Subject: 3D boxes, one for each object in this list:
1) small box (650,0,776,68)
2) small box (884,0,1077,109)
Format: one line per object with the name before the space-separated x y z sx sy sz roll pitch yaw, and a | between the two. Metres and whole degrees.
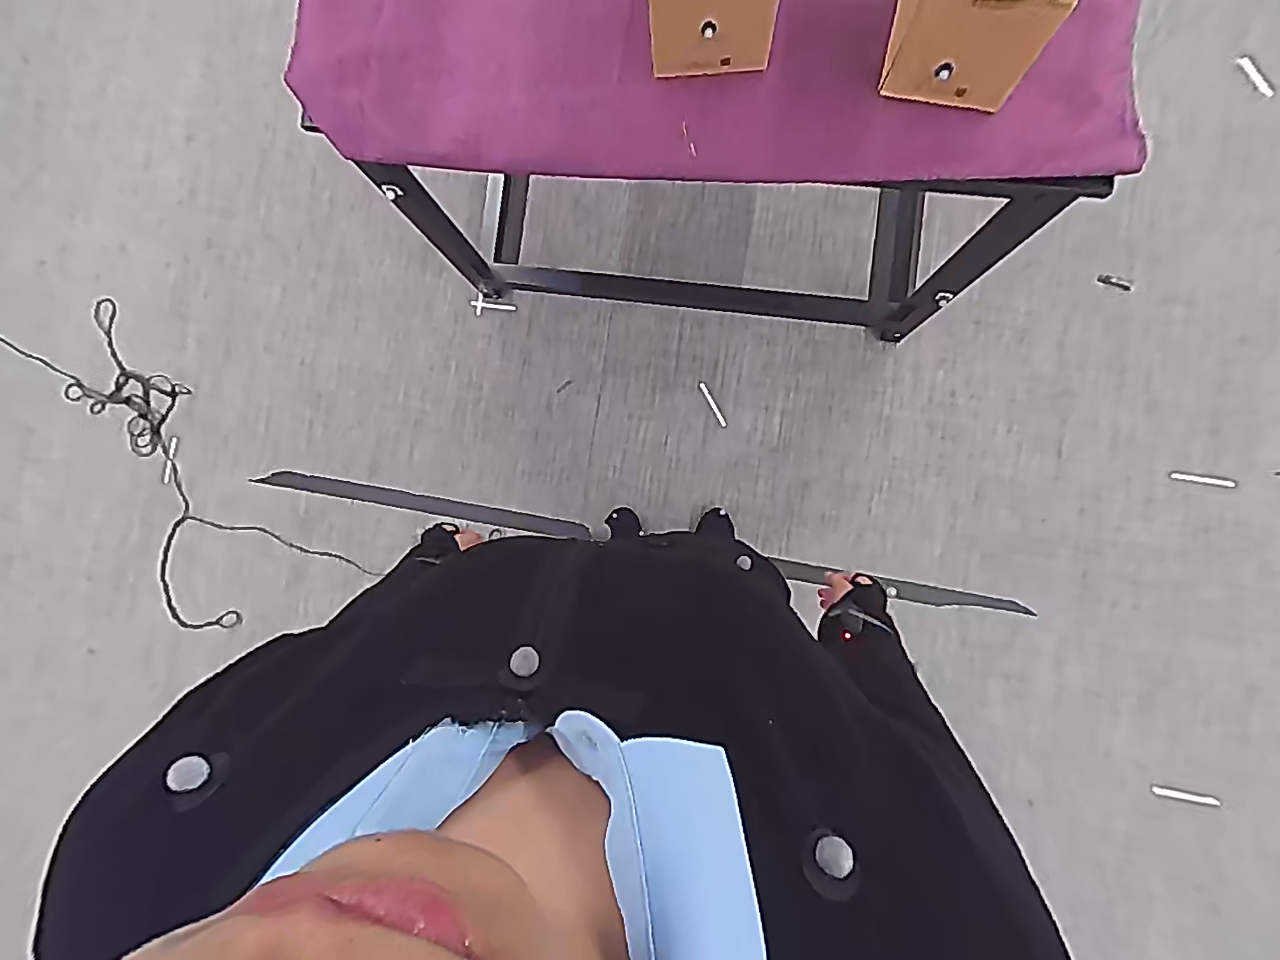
small box | 0.097 -0.692 0.724 0.168 0.176 0.179 -1 86 4
small box | 0.435 -0.629 0.693 0.168 0.176 0.179 13 87 6
